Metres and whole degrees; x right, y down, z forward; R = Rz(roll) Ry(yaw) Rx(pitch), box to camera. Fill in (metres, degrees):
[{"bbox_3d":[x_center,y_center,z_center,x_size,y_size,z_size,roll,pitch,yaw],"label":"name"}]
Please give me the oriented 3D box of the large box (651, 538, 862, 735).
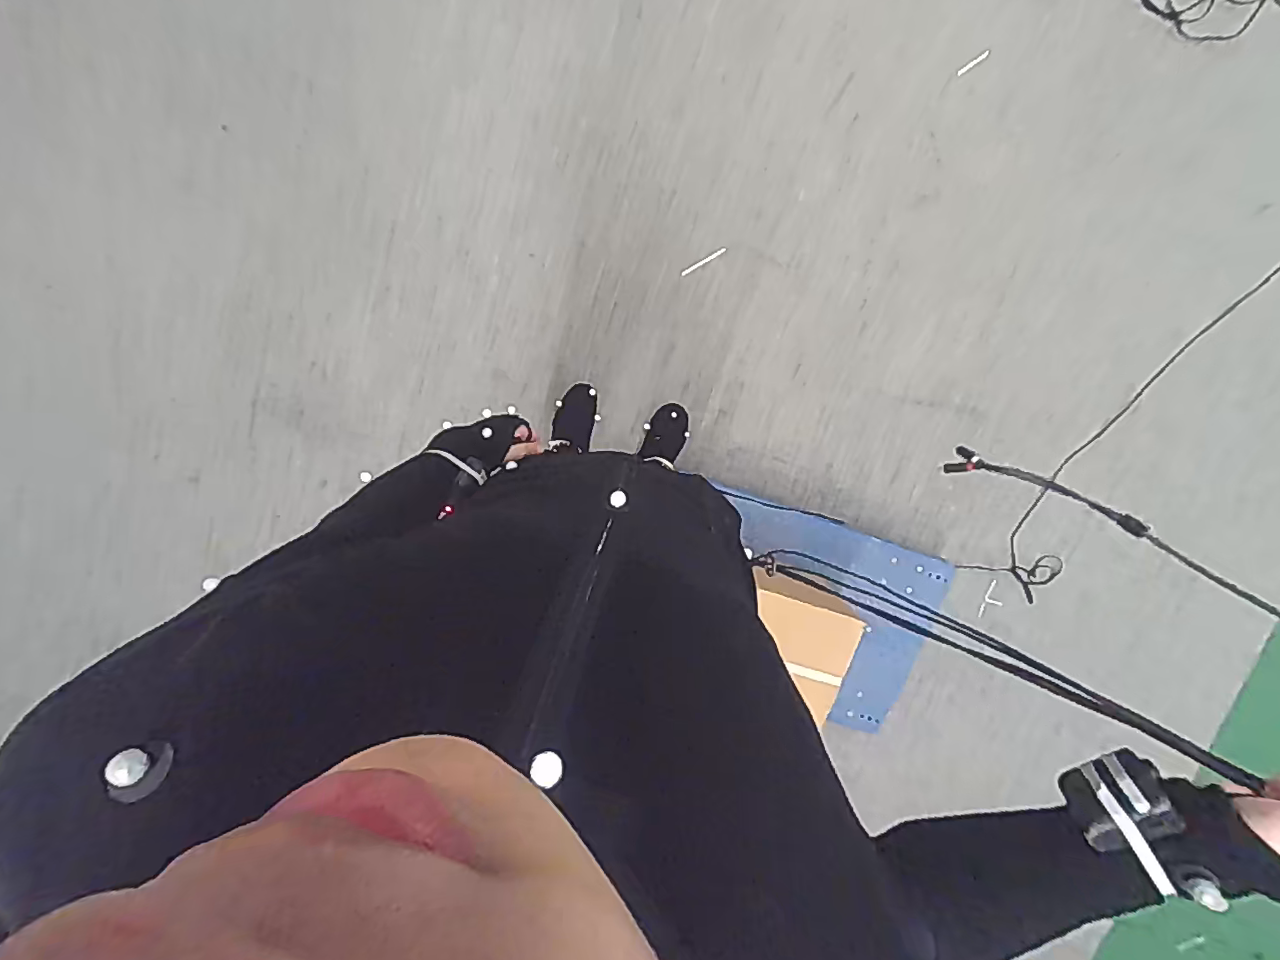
[{"bbox_3d":[0.268,0.381,1.389,0.408,0.320,0.320,19,100,-6],"label":"large box"}]
